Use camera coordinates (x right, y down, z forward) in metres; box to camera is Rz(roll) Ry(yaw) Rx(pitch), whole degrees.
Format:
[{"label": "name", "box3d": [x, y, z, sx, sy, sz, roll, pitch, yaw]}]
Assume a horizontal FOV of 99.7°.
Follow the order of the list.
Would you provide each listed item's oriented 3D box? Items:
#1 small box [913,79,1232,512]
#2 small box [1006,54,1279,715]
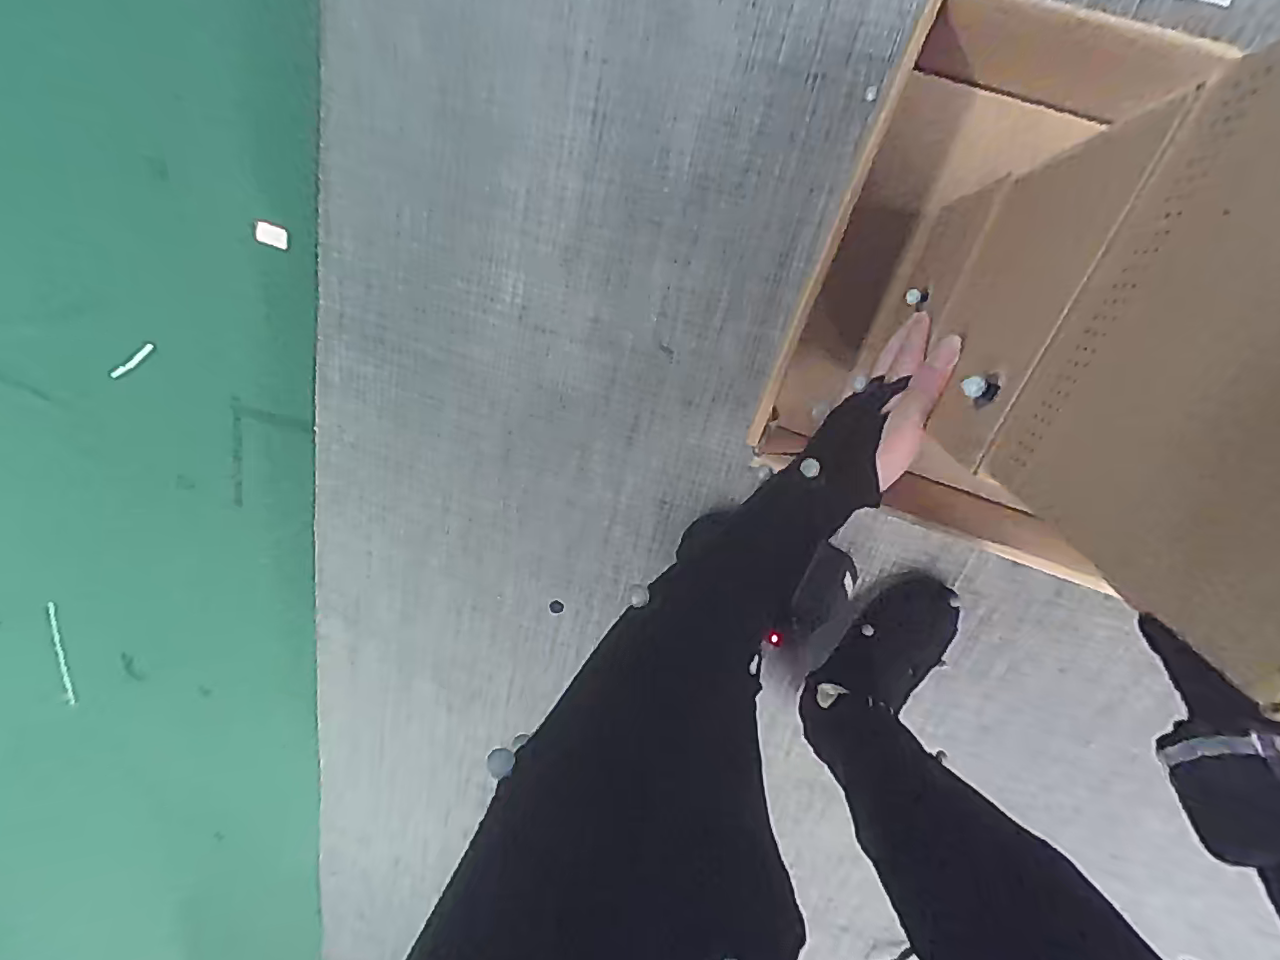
[{"label": "small box", "box3d": [0.277, -0.071, 0.296, 0.168, 0.176, 0.179, 19, 112, 7]}, {"label": "small box", "box3d": [0.242, -0.022, 0.142, 0.168, 0.176, 0.179, 20, 112, 7]}]
